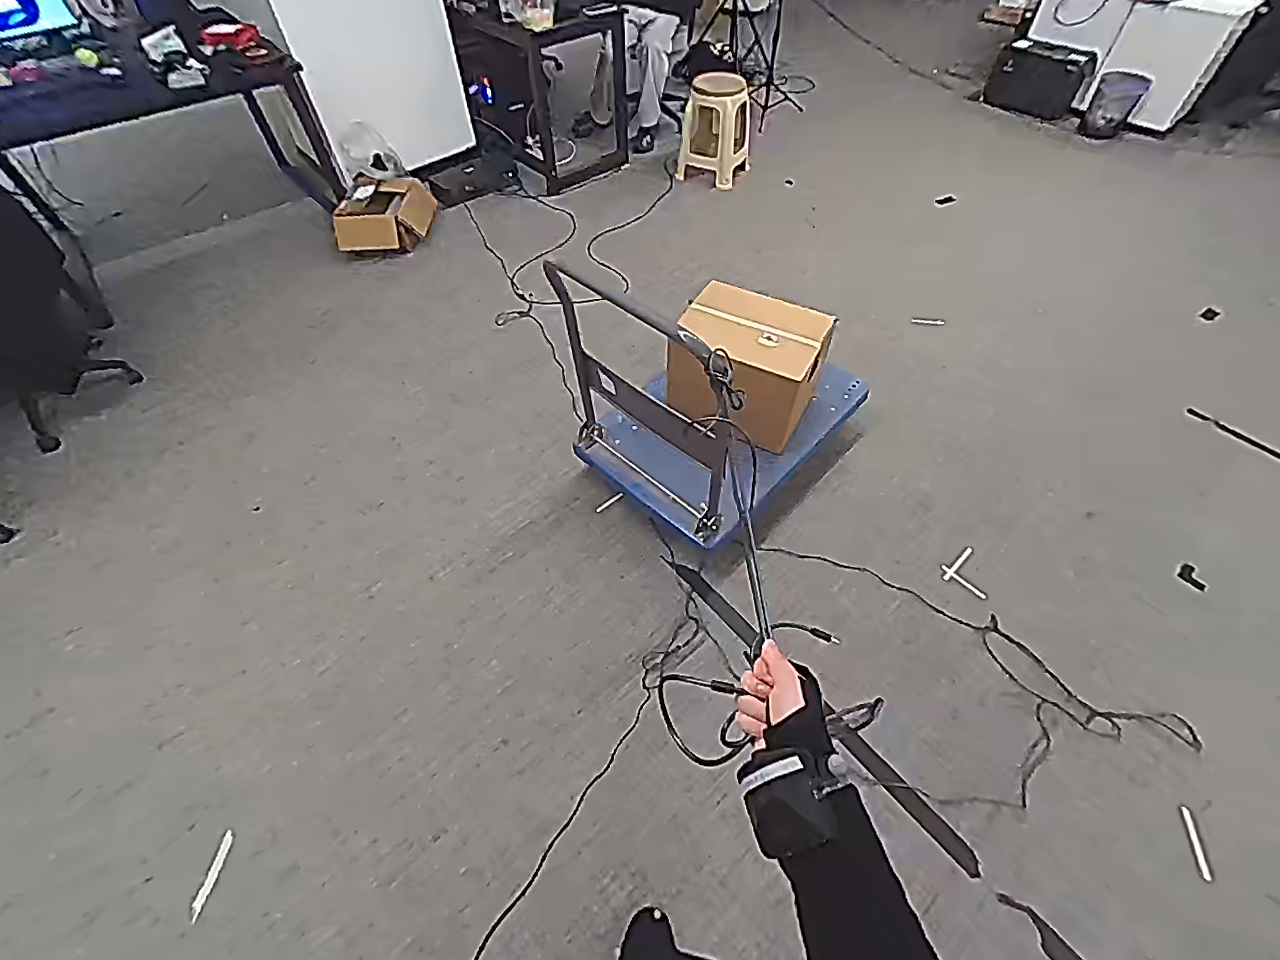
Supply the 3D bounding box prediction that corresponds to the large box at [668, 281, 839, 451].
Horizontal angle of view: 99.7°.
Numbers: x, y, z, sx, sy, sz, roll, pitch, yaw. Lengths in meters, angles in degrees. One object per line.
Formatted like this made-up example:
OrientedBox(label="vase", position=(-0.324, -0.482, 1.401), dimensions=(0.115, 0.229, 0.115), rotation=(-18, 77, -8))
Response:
OrientedBox(label="large box", position=(0.333, -0.353, 1.672), dimensions=(0.408, 0.320, 0.320), rotation=(25, 59, 17))
